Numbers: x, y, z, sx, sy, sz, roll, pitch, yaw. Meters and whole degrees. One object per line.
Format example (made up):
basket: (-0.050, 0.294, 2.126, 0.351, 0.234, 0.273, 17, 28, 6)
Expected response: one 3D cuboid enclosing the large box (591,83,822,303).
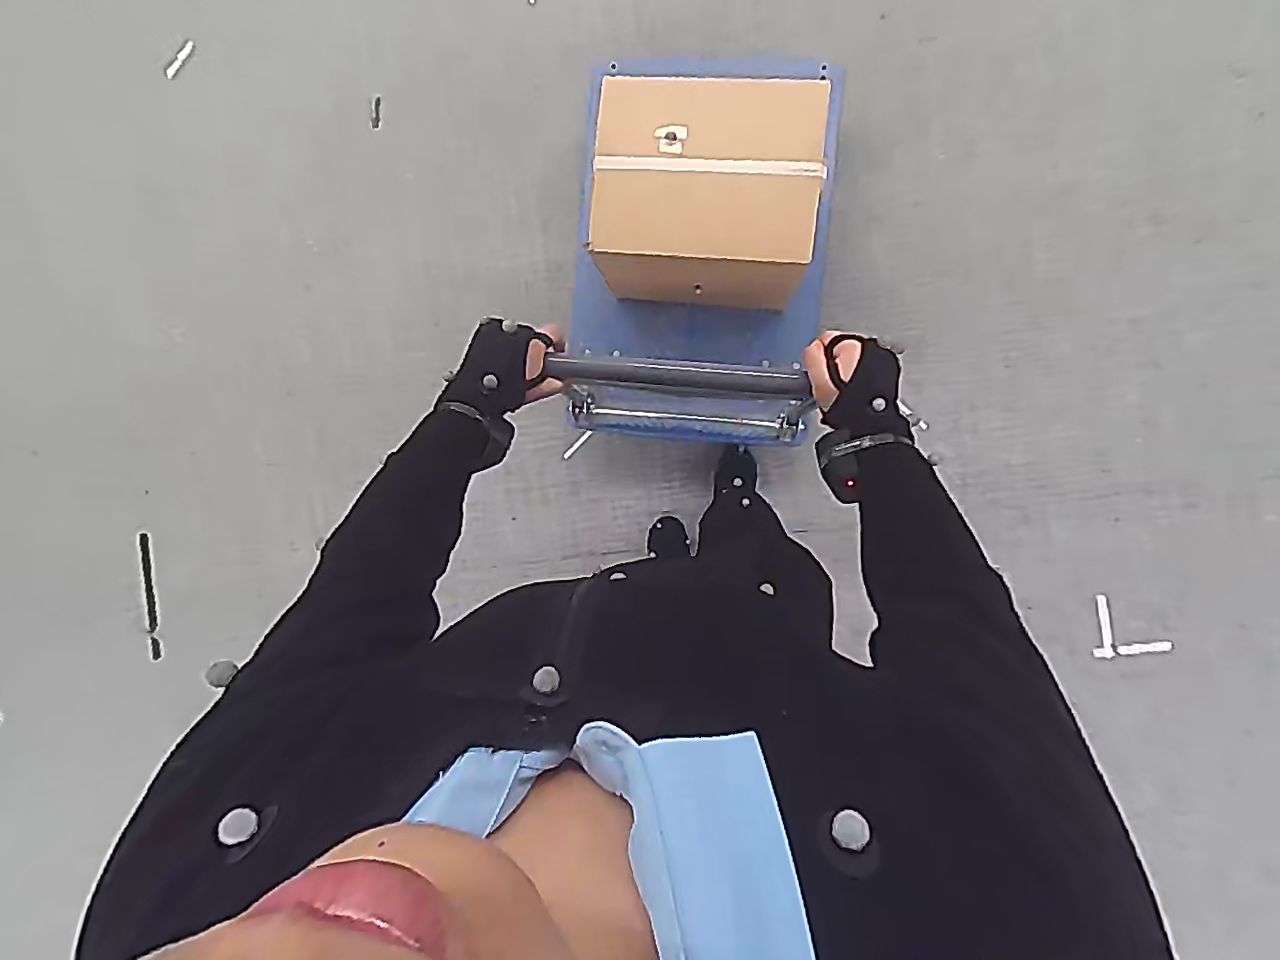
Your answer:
large box: (0.136, -0.570, 1.131, 0.408, 0.320, 0.320, 6, 92, 8)
